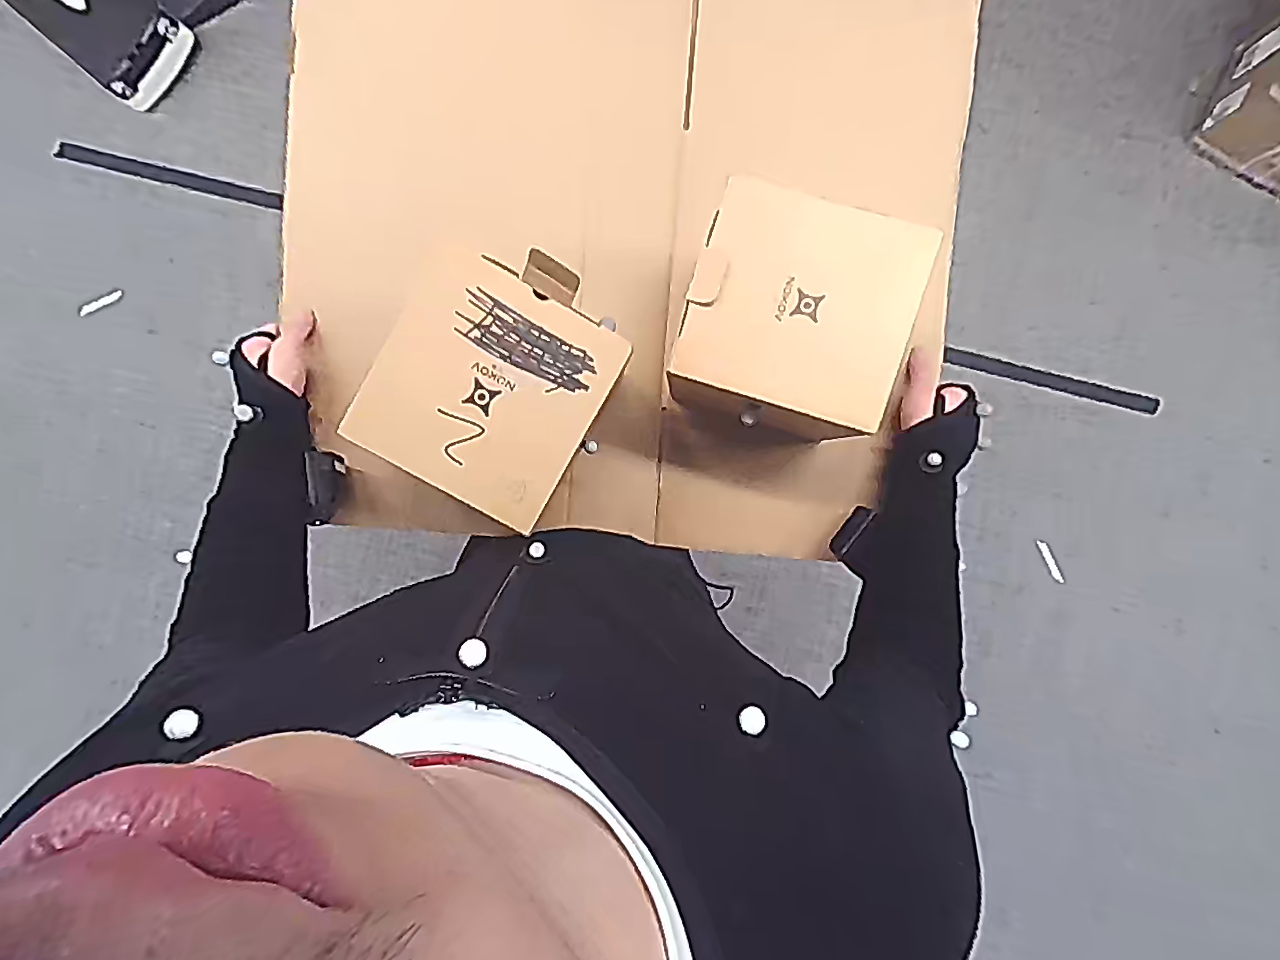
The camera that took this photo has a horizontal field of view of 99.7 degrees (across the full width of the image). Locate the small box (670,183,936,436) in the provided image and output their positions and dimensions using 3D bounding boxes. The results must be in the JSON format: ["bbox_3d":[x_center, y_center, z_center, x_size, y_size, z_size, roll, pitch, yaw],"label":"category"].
[{"bbox_3d":[0.138,-0.145,0.521,0.179,0.176,0.168,18,94,5],"label":"small box"}]
